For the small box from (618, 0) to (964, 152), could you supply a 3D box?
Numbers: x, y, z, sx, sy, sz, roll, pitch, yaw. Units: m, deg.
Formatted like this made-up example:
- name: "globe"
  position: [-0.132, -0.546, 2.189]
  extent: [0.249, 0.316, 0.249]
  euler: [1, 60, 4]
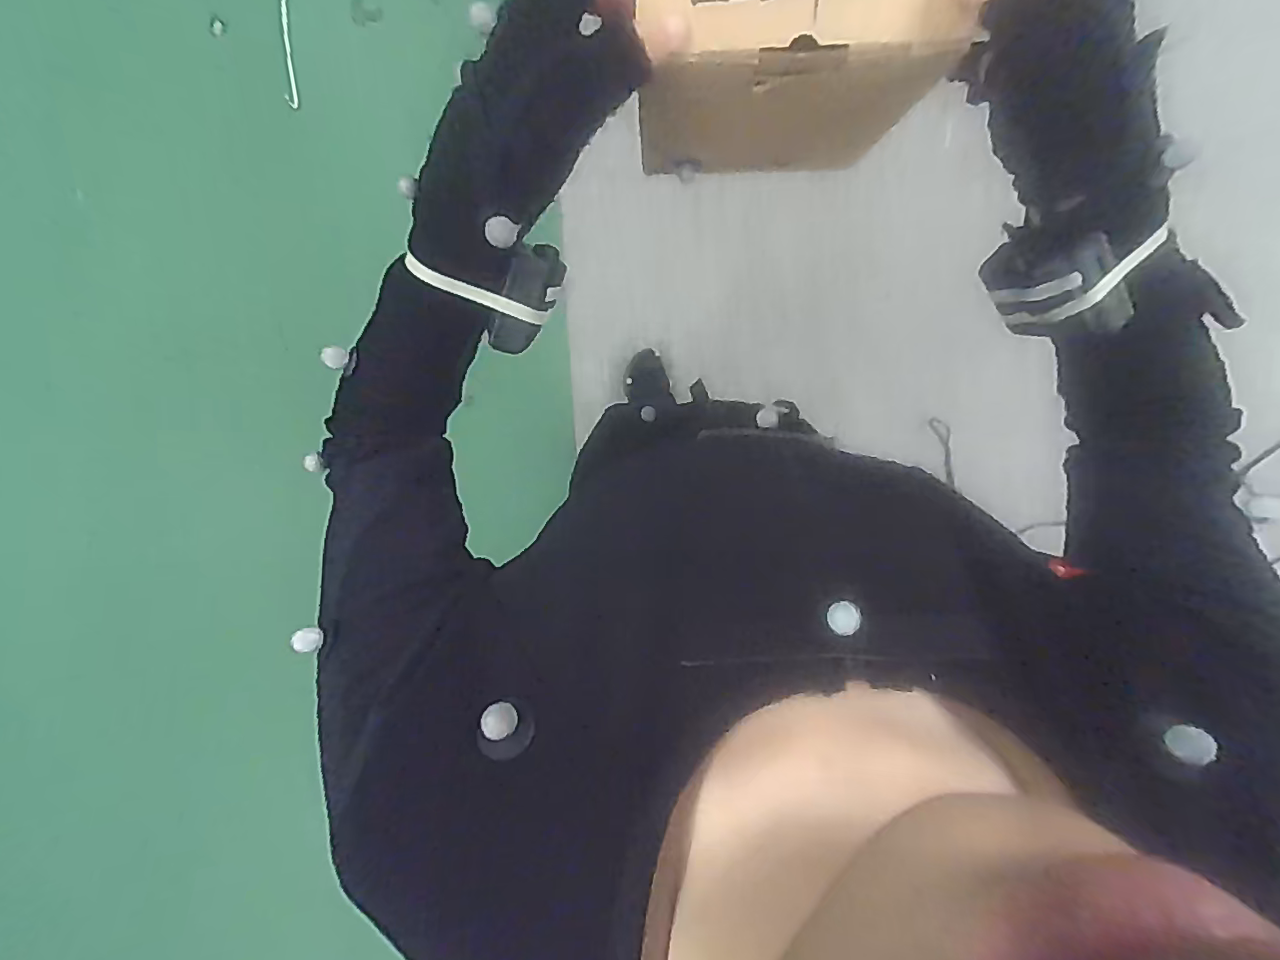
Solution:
- name: "small box"
  position: [0.073, -0.314, 0.320]
  extent: [0.168, 0.176, 0.179]
  euler: [-1, 101, 2]
